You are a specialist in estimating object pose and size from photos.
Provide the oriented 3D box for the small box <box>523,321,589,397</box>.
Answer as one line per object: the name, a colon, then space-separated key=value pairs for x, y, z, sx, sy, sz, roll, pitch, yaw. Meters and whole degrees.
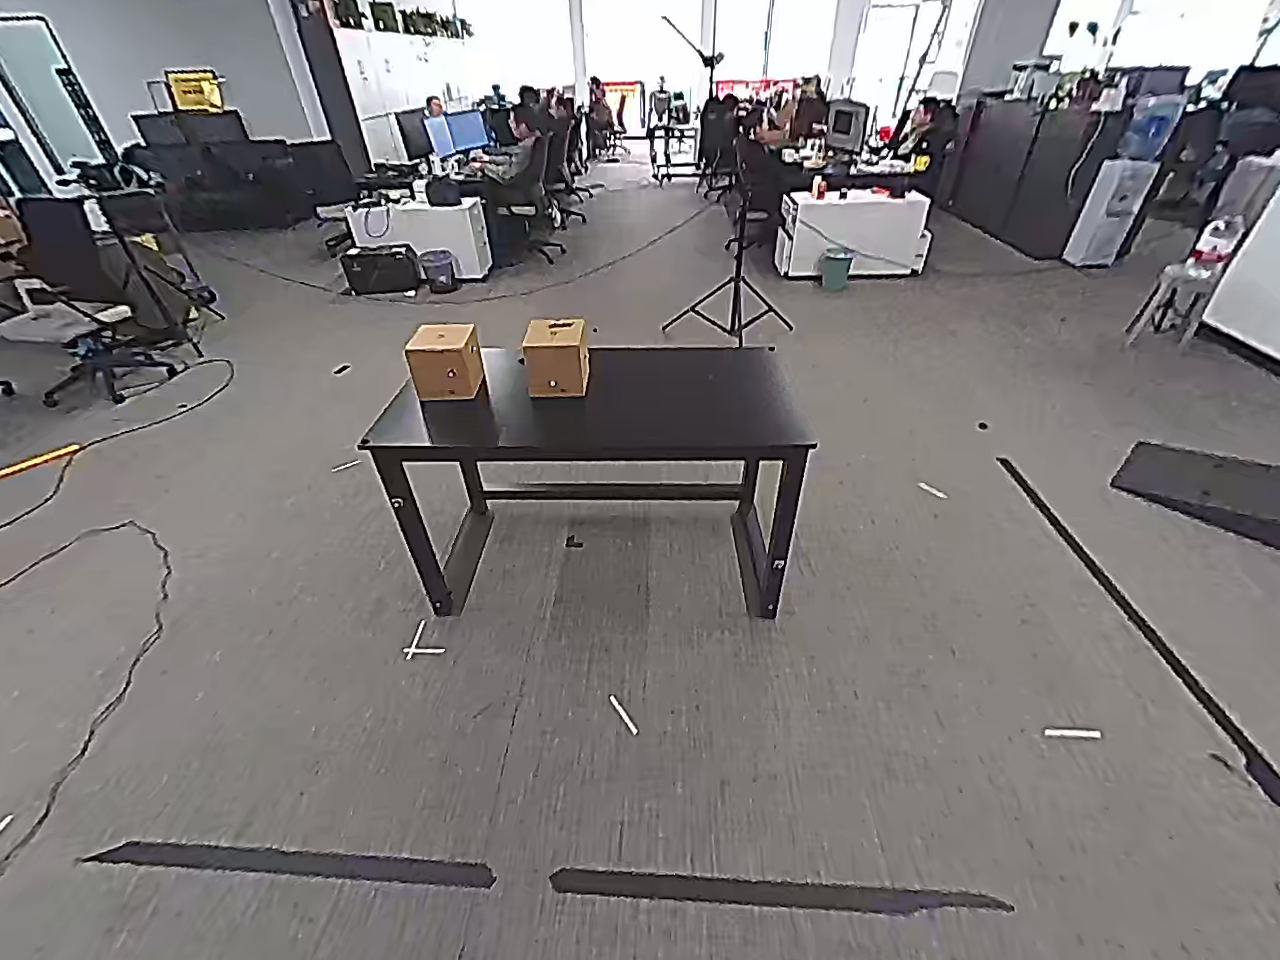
small box: x=-0.247 y=-0.364 z=1.626 sx=0.168 sy=0.176 sz=0.179 roll=-1 pitch=39 yaw=1

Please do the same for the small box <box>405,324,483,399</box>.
small box: x=-0.579 y=-0.353 z=1.624 sx=0.168 sy=0.176 sz=0.179 roll=-1 pitch=37 yaw=-2
